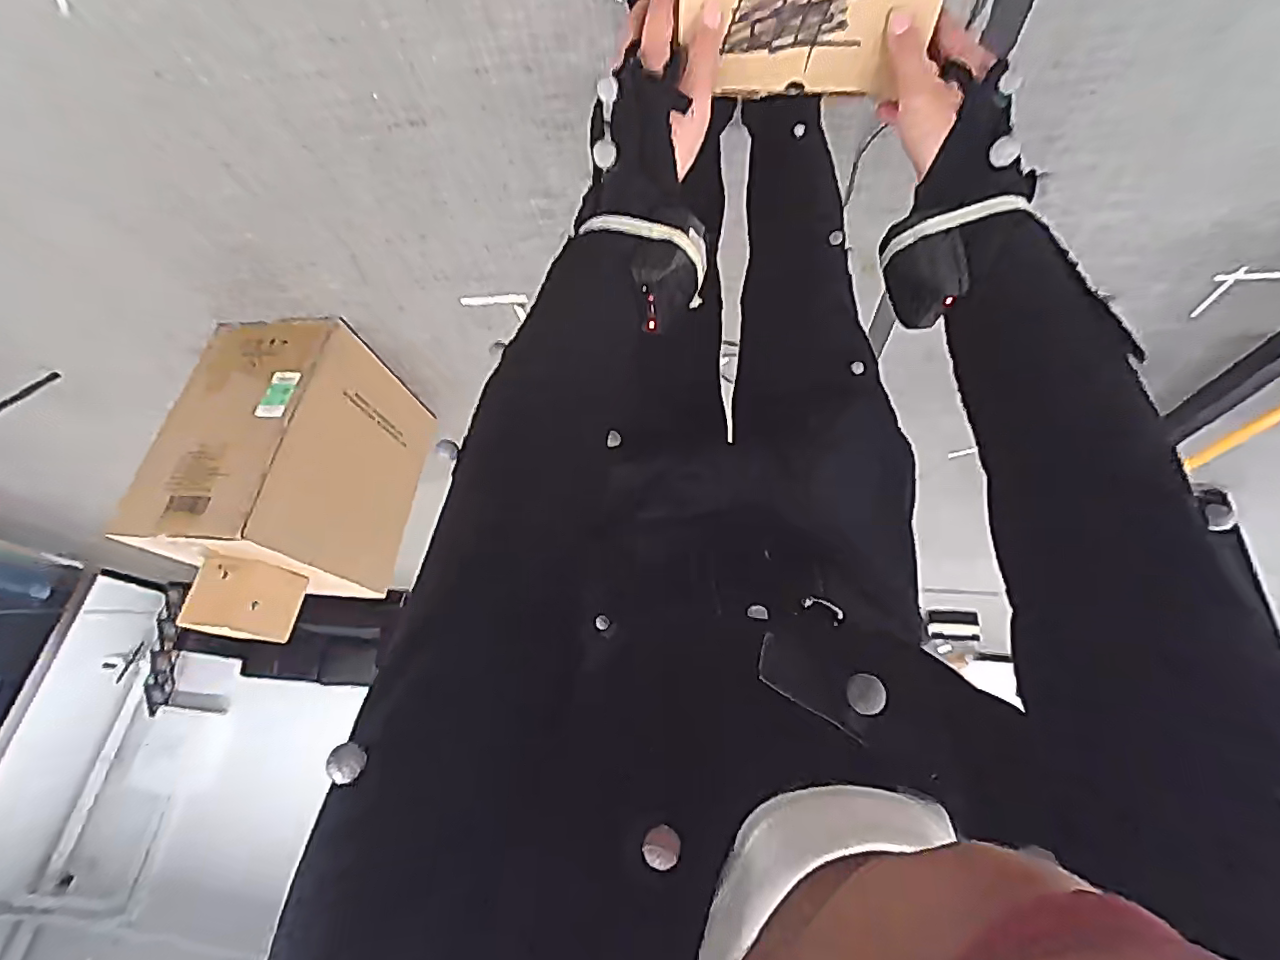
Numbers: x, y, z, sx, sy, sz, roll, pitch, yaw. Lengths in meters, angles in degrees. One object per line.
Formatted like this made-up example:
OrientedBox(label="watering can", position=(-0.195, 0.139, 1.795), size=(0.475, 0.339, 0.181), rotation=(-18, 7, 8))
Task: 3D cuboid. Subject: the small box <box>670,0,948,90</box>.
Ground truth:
OrientedBox(label="small box", position=(0.106, -0.380, 0.345), size=(0.168, 0.176, 0.179), rotation=(0, 140, -1))
